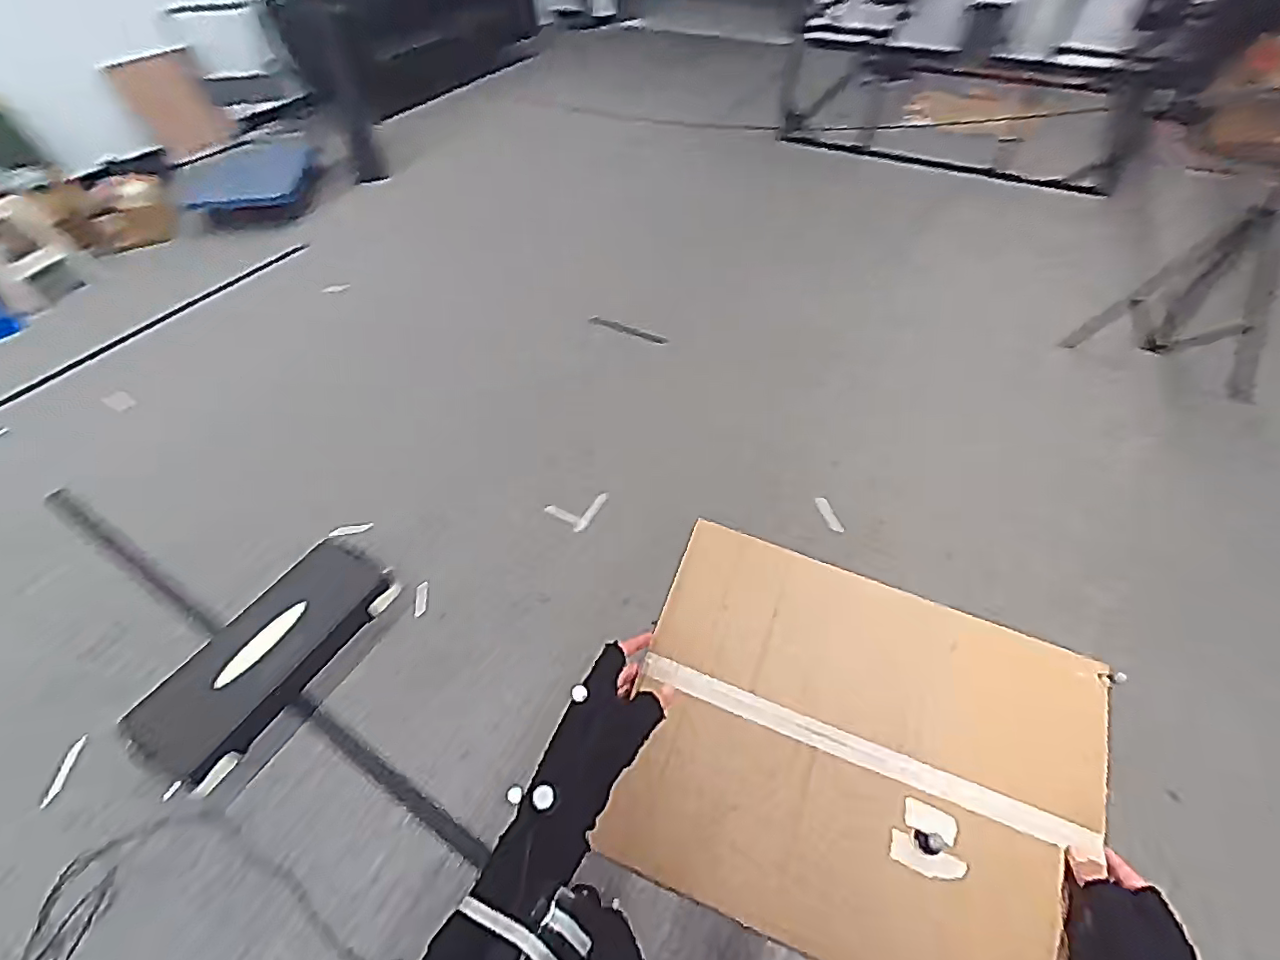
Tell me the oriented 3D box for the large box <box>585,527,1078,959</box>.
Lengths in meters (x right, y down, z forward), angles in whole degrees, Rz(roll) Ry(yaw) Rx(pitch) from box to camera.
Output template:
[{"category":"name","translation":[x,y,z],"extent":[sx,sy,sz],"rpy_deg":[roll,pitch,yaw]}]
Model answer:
[{"category":"large box","translation":[0.184,0.299,0.627],"extent":[0.408,0.320,0.320],"rpy_deg":[18,67,8]}]
